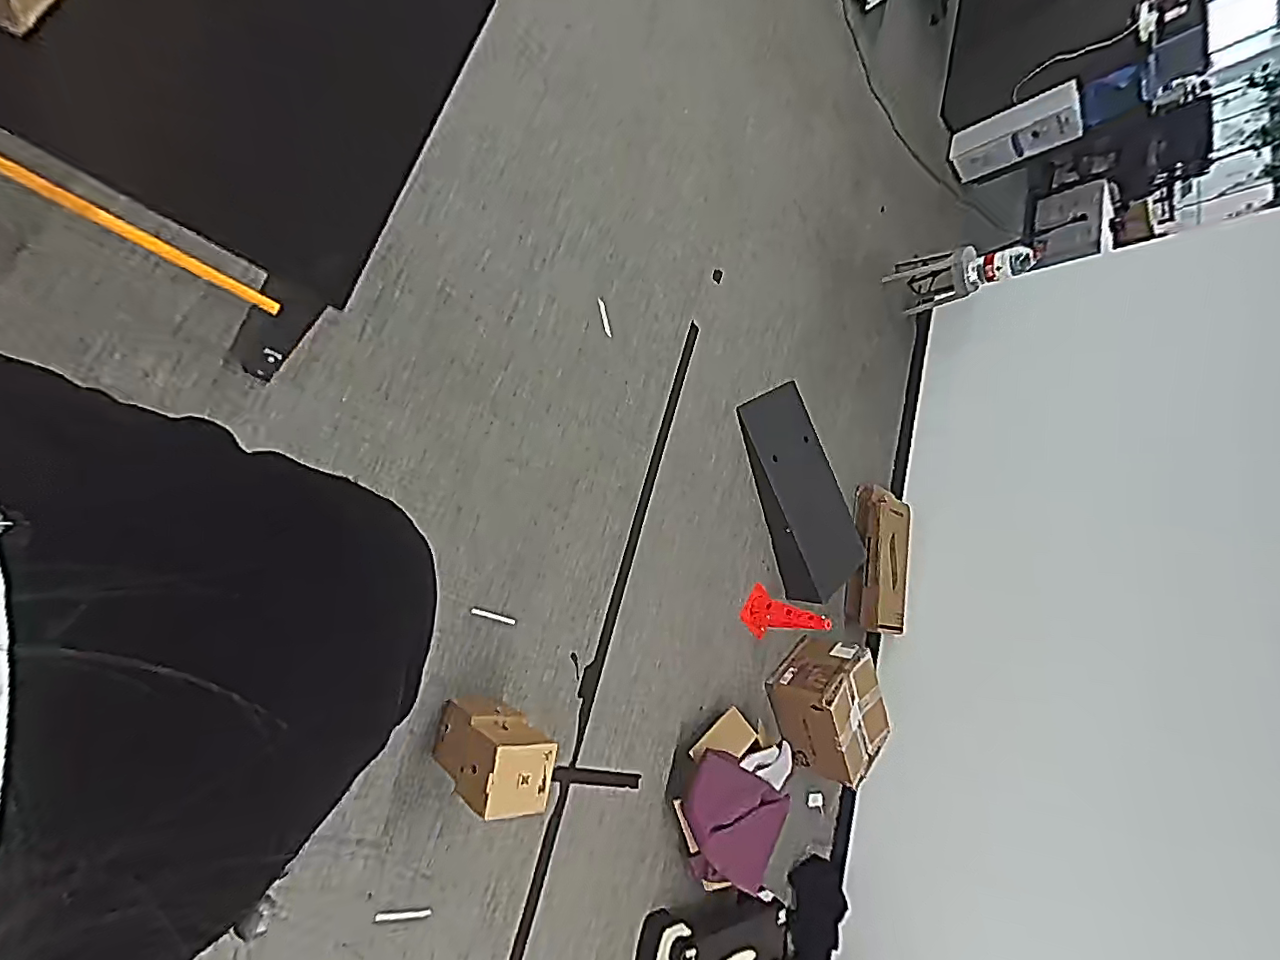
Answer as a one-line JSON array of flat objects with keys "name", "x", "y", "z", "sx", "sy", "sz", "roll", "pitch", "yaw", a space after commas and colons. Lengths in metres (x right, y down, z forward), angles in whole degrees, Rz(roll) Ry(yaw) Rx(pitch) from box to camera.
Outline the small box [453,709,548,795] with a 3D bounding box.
[{"name": "small box", "x": -0.386, "y": 0.743, "z": 1.492, "sx": 0.179, "sy": 0.176, "sz": 0.168, "roll": 21, "pitch": 75, "yaw": -38}]

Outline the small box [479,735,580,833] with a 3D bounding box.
[{"name": "small box", "x": -0.282, "y": 0.756, "z": 1.365, "sx": 0.179, "sy": 0.176, "sz": 0.168, "roll": 20, "pitch": 76, "yaw": -39}]
